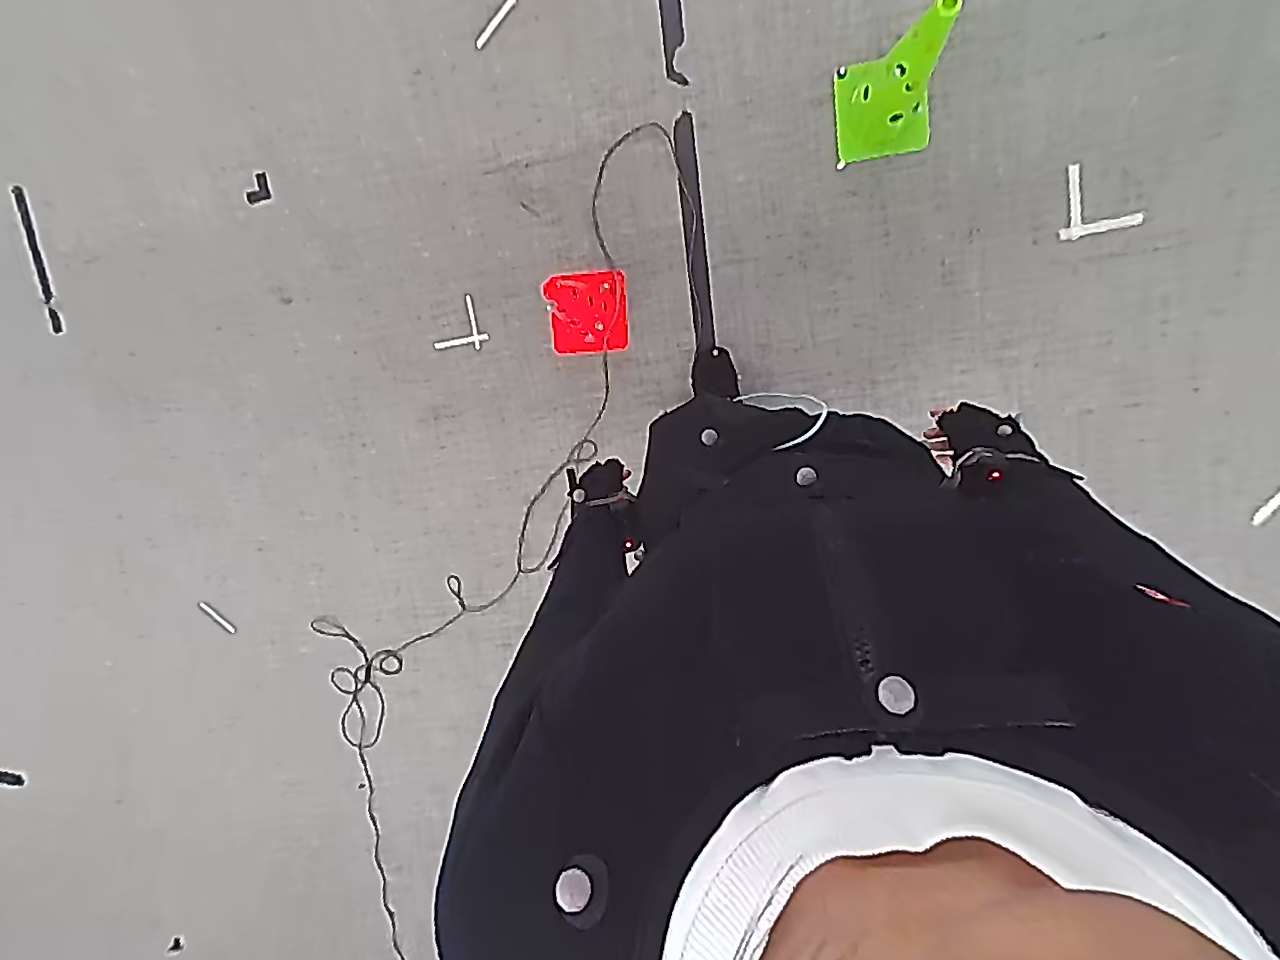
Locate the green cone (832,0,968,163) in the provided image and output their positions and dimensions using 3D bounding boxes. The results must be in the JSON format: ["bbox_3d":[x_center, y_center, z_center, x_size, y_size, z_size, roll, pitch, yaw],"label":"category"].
[{"bbox_3d":[0.528,-0.807,1.059,0.202,0.368,0.200,-7,99,7],"label":"green cone"}]

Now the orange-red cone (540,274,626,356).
[{"bbox_3d":[-0.156,-0.395,1.216,0.199,0.360,0.198,-2,99,8],"label":"orange-red cone"}]
